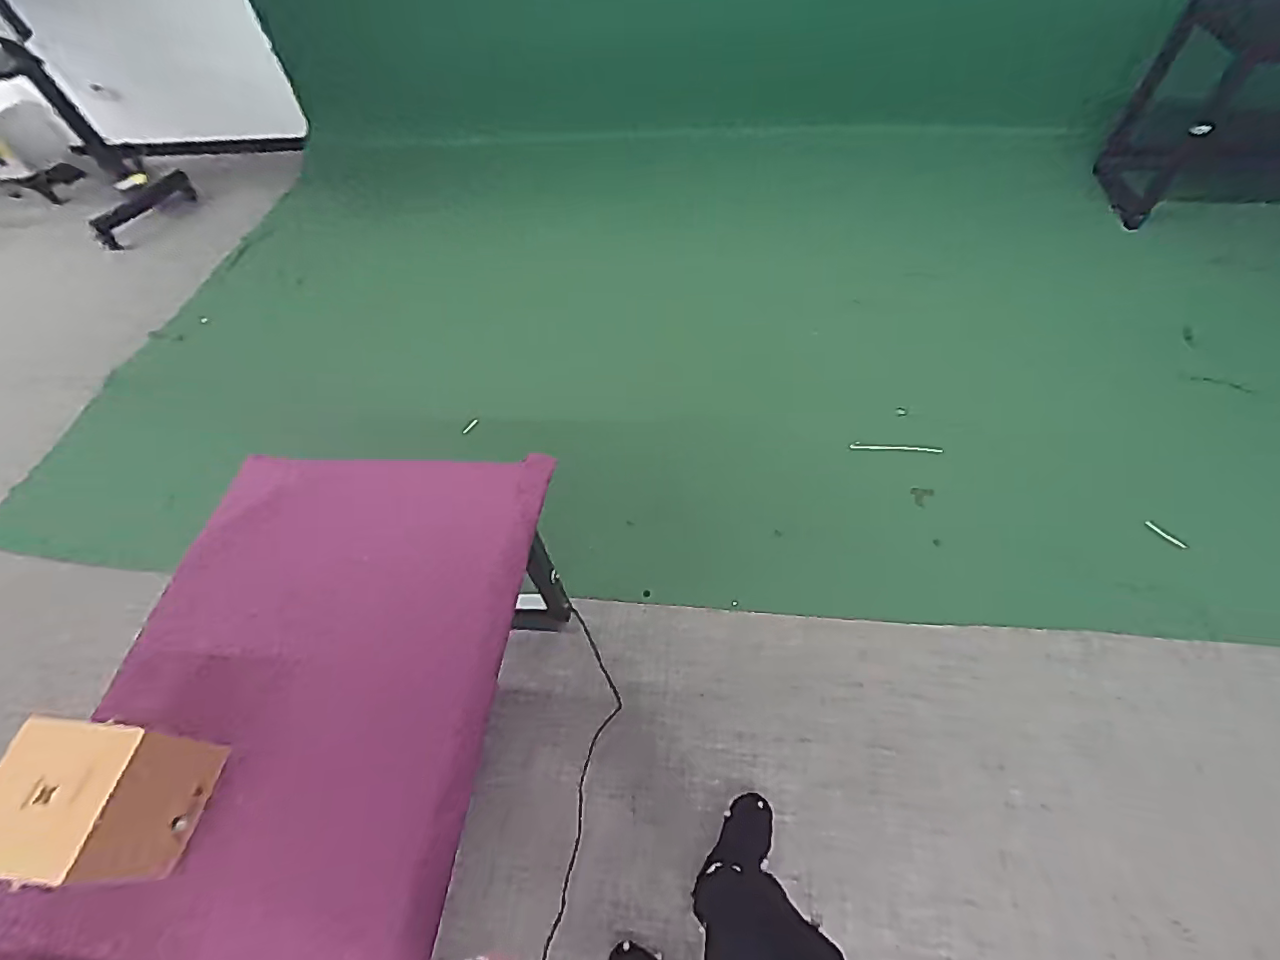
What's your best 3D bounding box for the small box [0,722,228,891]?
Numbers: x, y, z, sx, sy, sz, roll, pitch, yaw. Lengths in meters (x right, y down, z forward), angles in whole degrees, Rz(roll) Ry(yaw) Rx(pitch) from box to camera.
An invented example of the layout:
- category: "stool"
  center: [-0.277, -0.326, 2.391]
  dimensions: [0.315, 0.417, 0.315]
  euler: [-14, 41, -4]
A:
- category: "small box"
  center: [-0.720, 0.436, 0.724]
  dimensions: [0.179, 0.176, 0.168]
  euler: [3, 56, 6]
